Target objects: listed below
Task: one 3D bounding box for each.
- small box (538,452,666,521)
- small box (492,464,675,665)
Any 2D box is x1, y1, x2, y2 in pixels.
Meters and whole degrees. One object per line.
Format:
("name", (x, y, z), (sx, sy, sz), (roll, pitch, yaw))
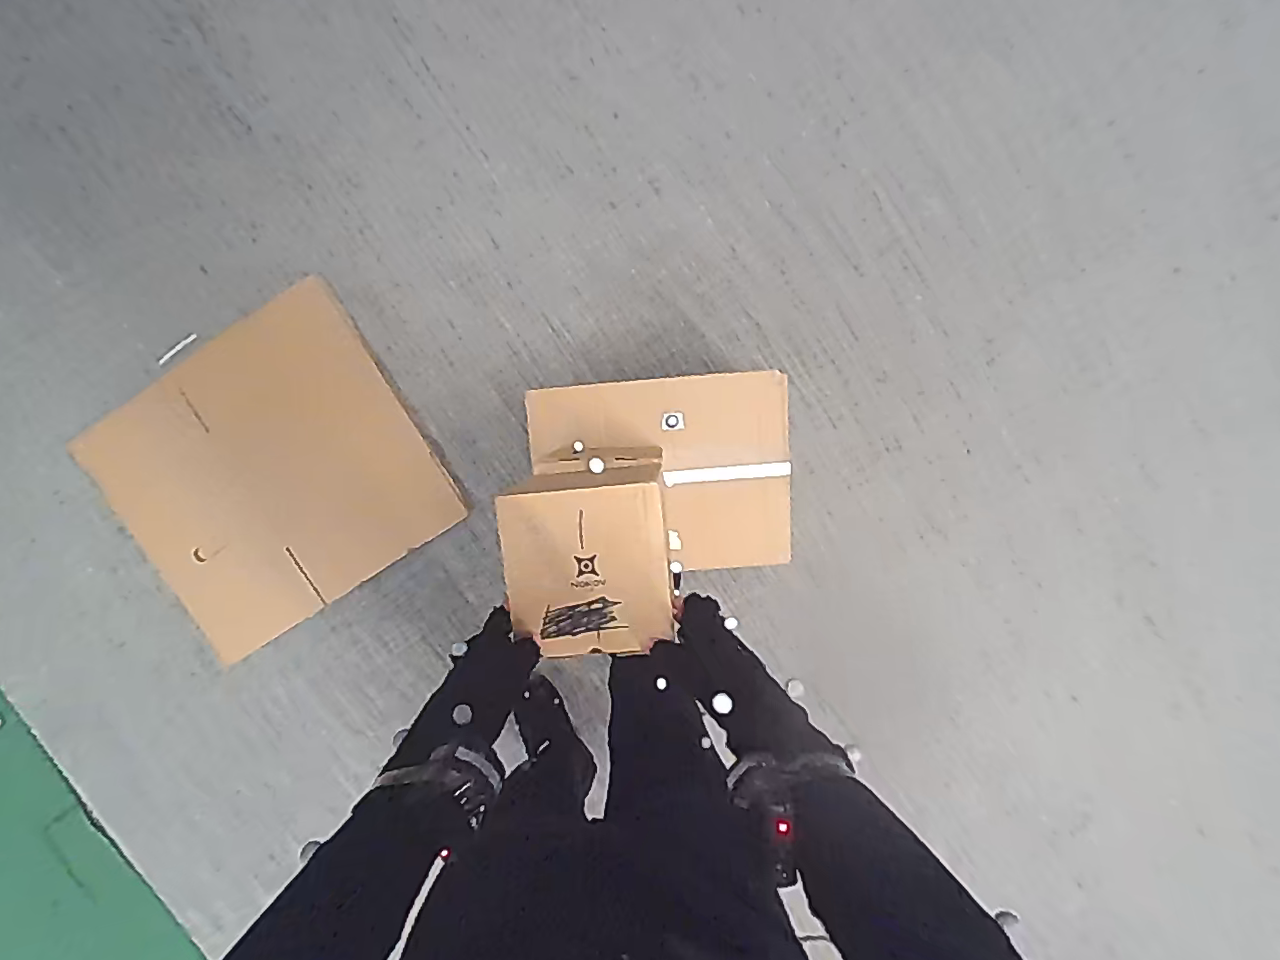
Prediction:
("small box", (-0.046, 0.050, 0.790), (0.168, 0.176, 0.179), (-1, 99, 4))
("small box", (-0.051, 0.087, 0.629), (0.168, 0.176, 0.179), (-9, 98, 5))
